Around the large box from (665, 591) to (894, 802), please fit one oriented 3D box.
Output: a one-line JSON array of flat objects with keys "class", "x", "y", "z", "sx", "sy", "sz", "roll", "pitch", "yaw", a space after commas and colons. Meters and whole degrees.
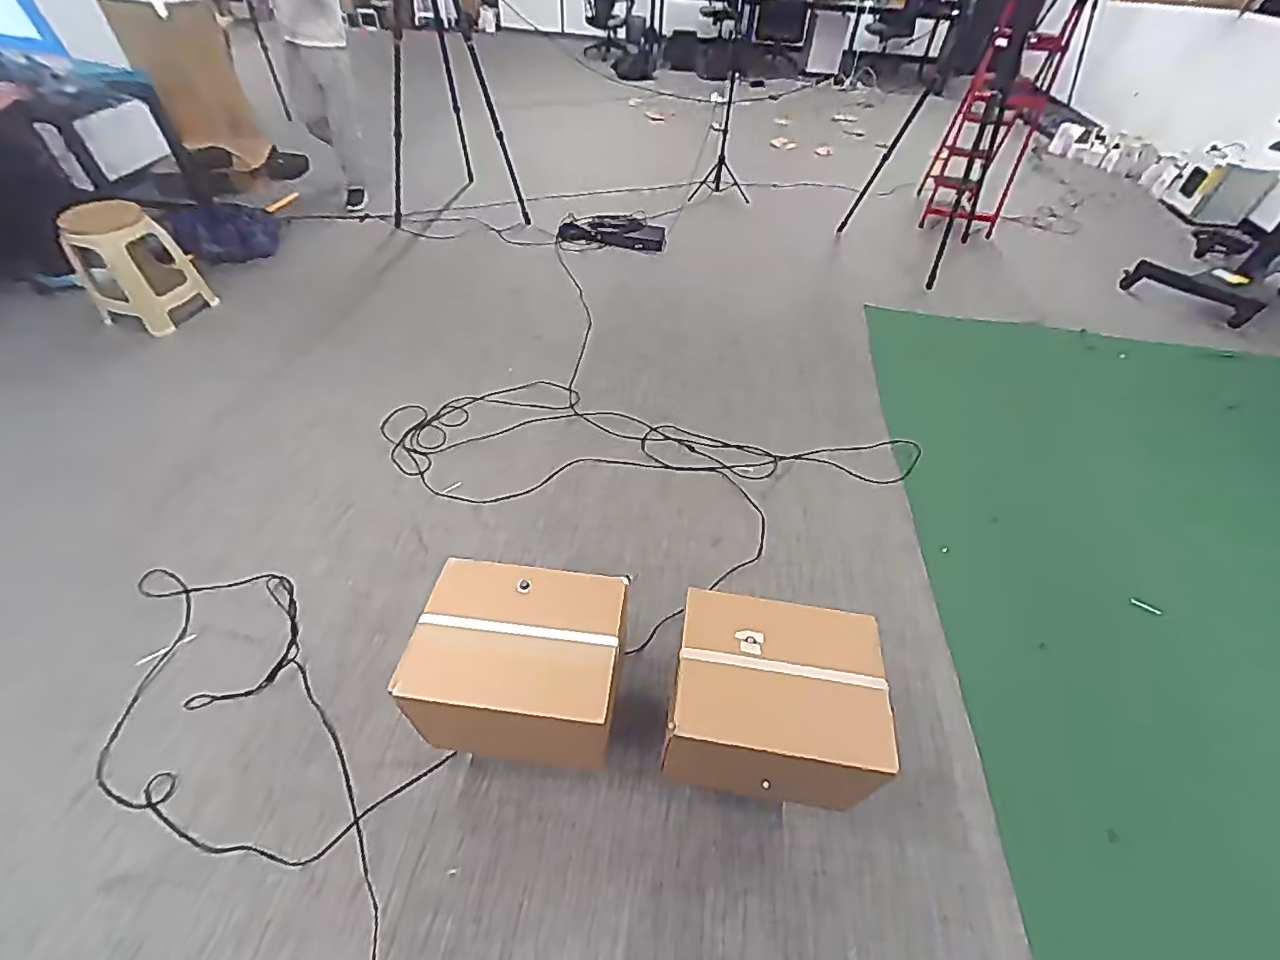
[{"class": "large box", "x": 0.279, "y": 0.478, "z": 1.189, "sx": 0.408, "sy": 0.320, "sz": 0.320, "roll": 8, "pitch": 48, "yaw": 5}]
